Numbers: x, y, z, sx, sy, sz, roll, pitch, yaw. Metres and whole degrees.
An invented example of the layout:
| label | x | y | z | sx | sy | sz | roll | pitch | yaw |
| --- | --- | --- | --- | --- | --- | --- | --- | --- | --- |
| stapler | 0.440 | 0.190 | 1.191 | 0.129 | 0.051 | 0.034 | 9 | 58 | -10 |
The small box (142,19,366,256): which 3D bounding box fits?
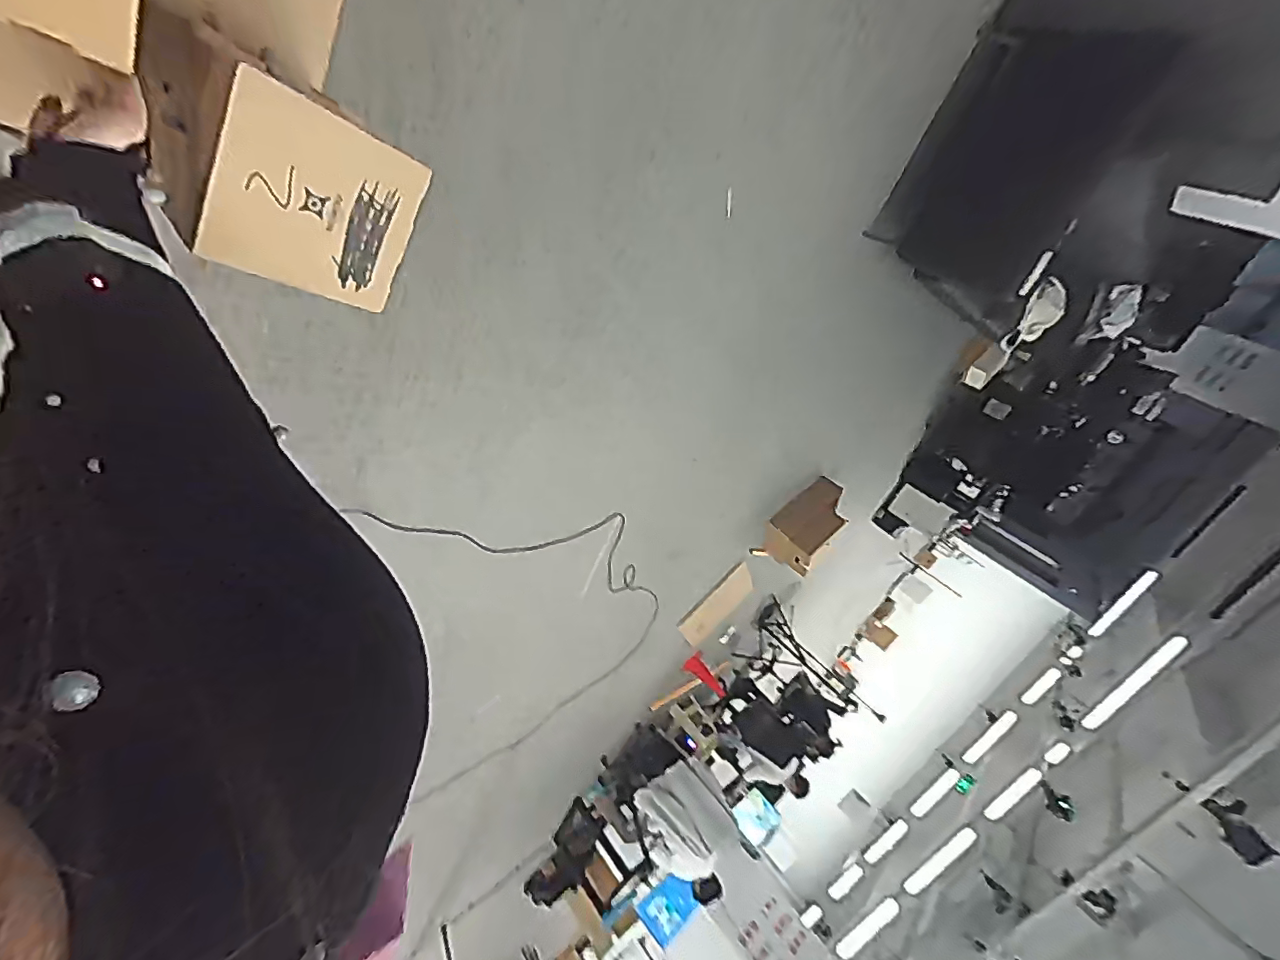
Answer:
| label | x | y | z | sx | sy | sz | roll | pitch | yaw |
| --- | --- | --- | --- | --- | --- | --- | --- | --- | --- |
| small box | -0.462 | -0.403 | 0.644 | 0.168 | 0.176 | 0.179 | 4 | 118 | -52 |
